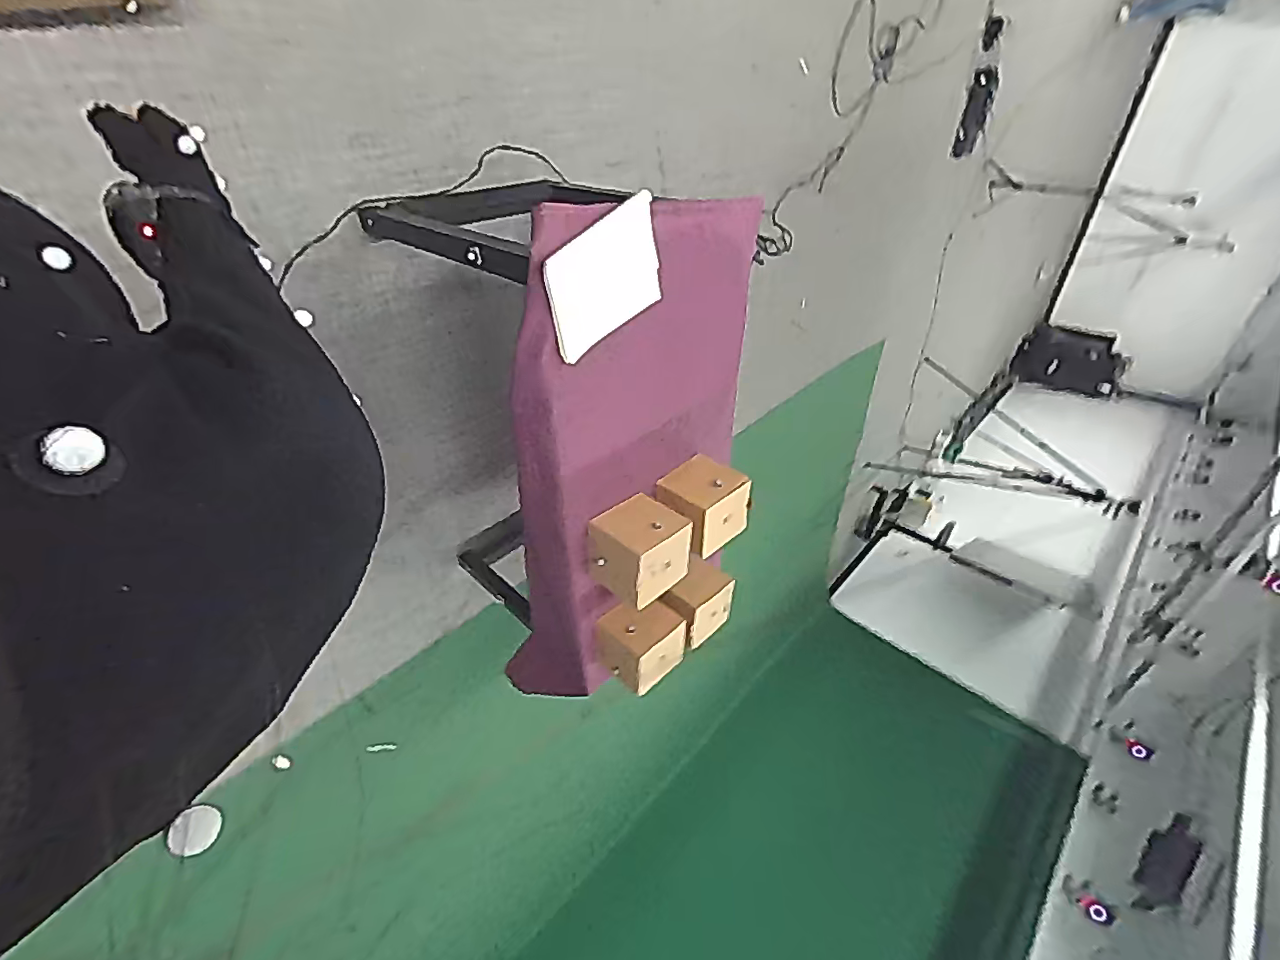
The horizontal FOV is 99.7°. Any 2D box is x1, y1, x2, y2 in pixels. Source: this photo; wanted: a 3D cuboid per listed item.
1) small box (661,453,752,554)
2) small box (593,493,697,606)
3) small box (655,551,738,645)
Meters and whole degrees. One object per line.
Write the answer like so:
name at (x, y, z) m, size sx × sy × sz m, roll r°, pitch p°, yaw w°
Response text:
small box at (0.166, 0.056, 1.404) m, size 0.179 × 0.176 × 0.168 m, roll -33°, pitch 136°, yaw -34°
small box at (0.009, 0.154, 1.271) m, size 0.179 × 0.176 × 0.168 m, roll -28°, pitch 133°, yaw -38°
small box at (0.161, 0.341, 1.590) m, size 0.179 × 0.176 × 0.168 m, roll -26°, pitch 132°, yaw -38°
